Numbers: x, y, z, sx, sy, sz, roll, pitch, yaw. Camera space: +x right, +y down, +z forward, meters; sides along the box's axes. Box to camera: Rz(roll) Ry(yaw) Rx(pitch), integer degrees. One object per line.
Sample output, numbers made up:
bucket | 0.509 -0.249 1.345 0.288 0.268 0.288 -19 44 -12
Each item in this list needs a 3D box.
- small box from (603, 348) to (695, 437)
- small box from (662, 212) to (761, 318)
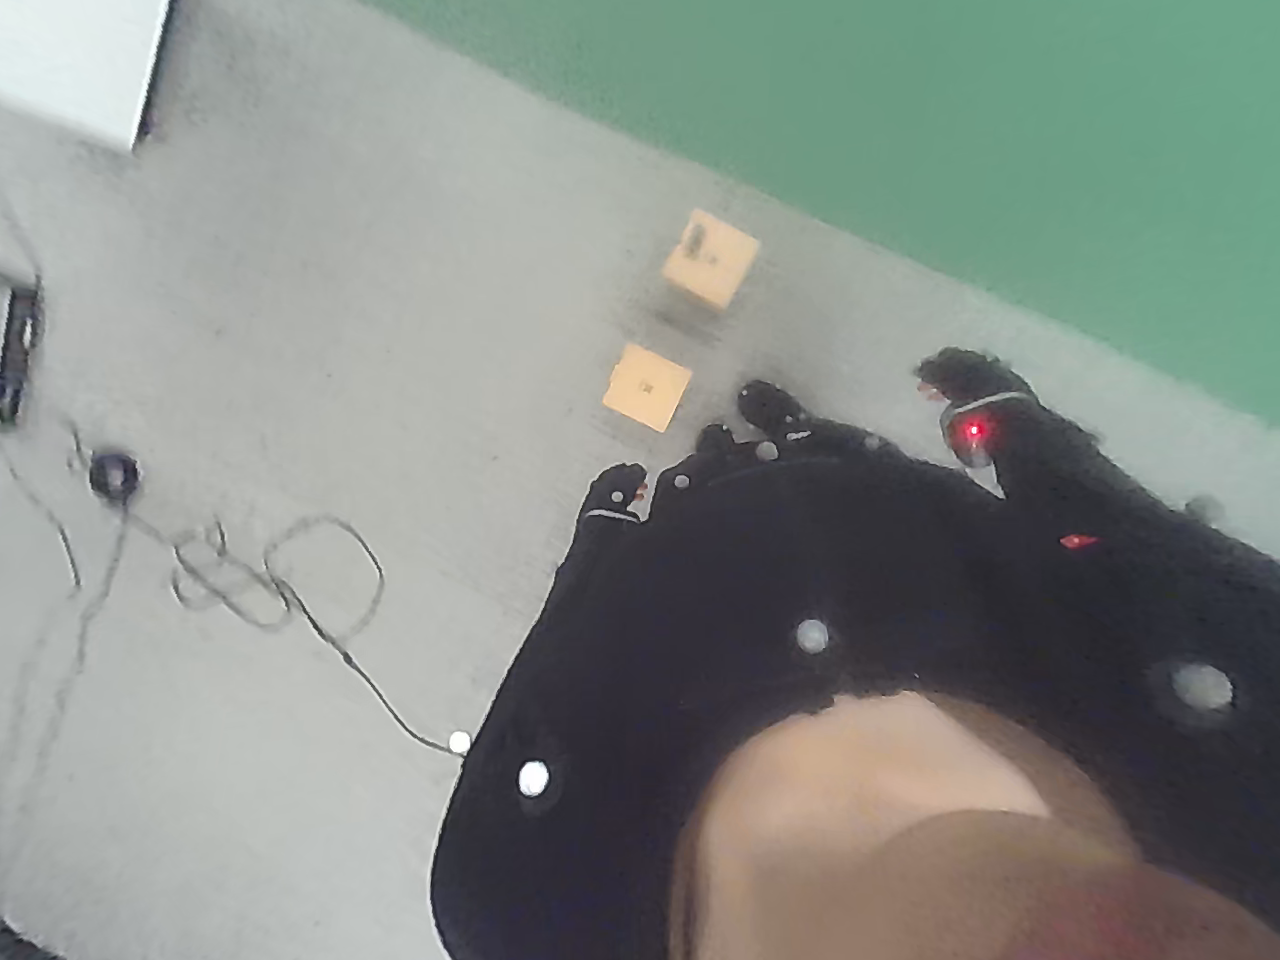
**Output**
small box | 0.030 -0.224 1.380 0.179 0.176 0.168 25 101 4
small box | 0.172 -0.510 1.312 0.179 0.176 0.168 29 102 2
